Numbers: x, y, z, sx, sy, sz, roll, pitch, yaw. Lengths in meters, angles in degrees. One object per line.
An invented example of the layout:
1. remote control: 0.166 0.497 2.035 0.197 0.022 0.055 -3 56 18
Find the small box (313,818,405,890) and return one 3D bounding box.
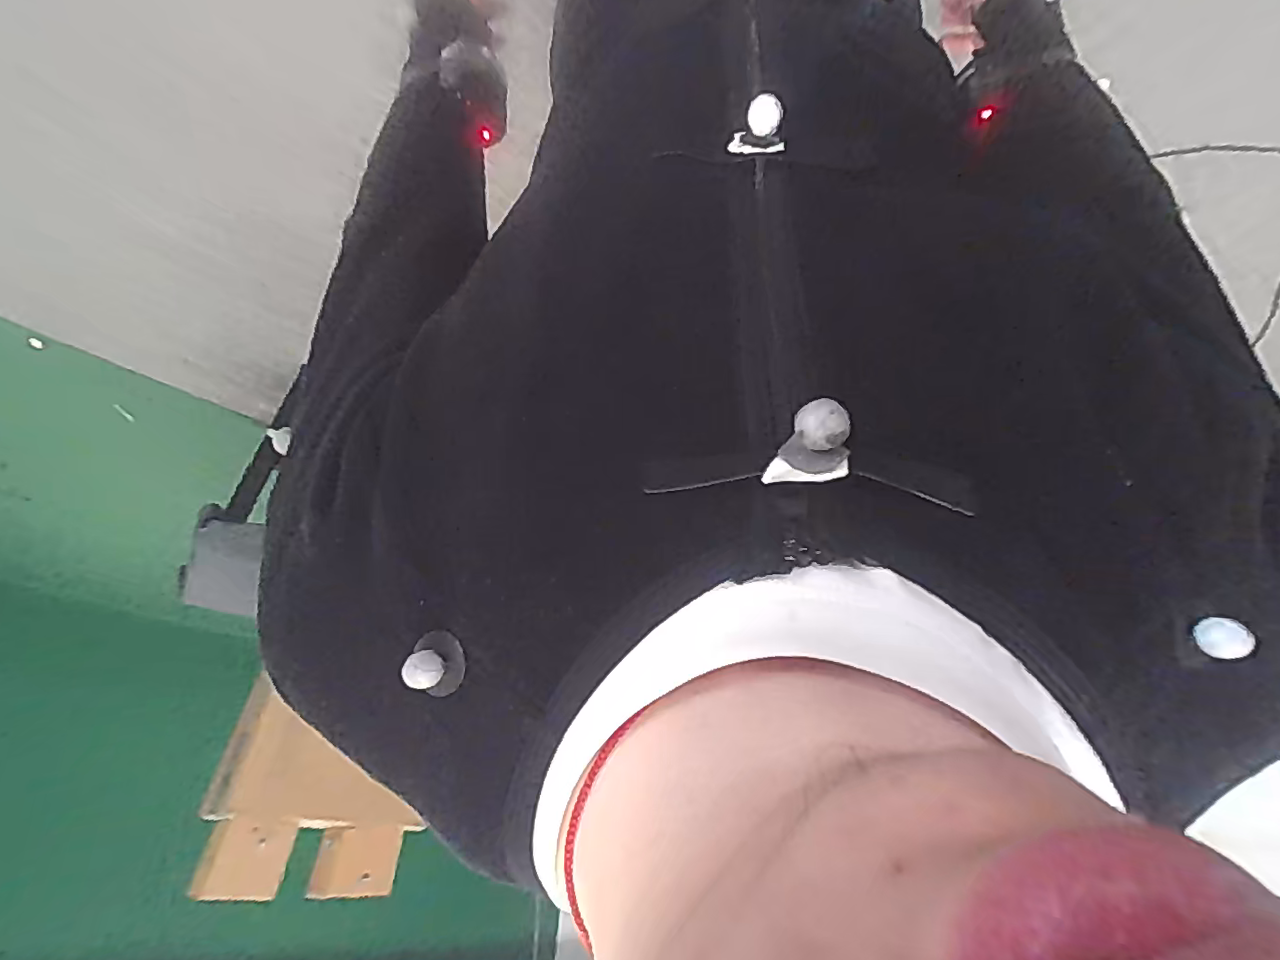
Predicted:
1. small box: -0.831 1.115 1.614 0.179 0.176 0.168 31 134 -33

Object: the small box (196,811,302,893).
1. small box: -1.051 1.006 1.463 0.168 0.176 0.179 31 134 -33
